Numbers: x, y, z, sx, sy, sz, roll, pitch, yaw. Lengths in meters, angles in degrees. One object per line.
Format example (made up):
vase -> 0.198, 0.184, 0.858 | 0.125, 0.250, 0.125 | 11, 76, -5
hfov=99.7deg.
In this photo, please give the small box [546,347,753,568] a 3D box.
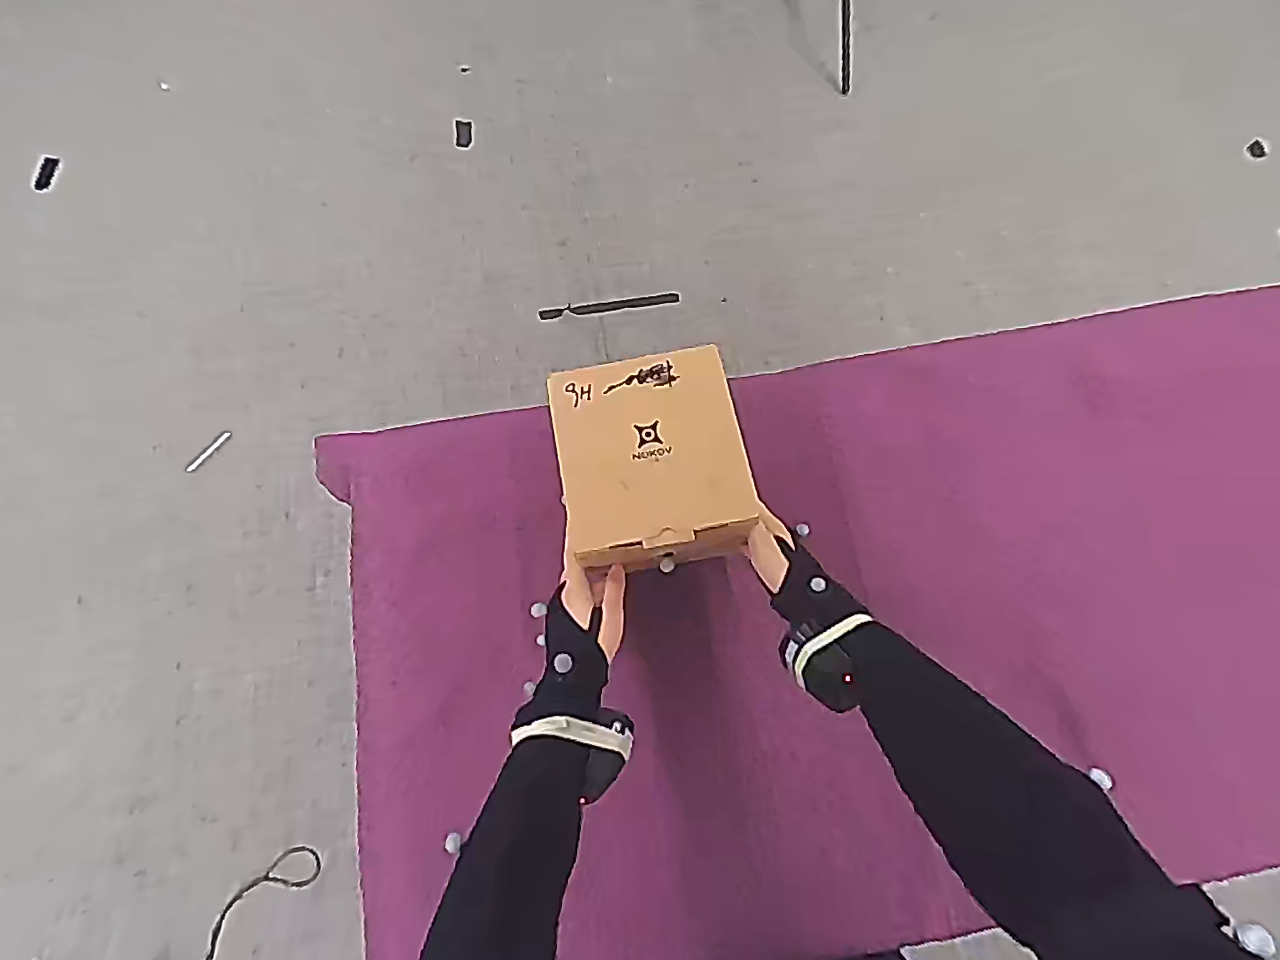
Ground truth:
small box -> 0.008, -0.009, 0.561 | 0.168, 0.176, 0.179 | -10, 74, -1
